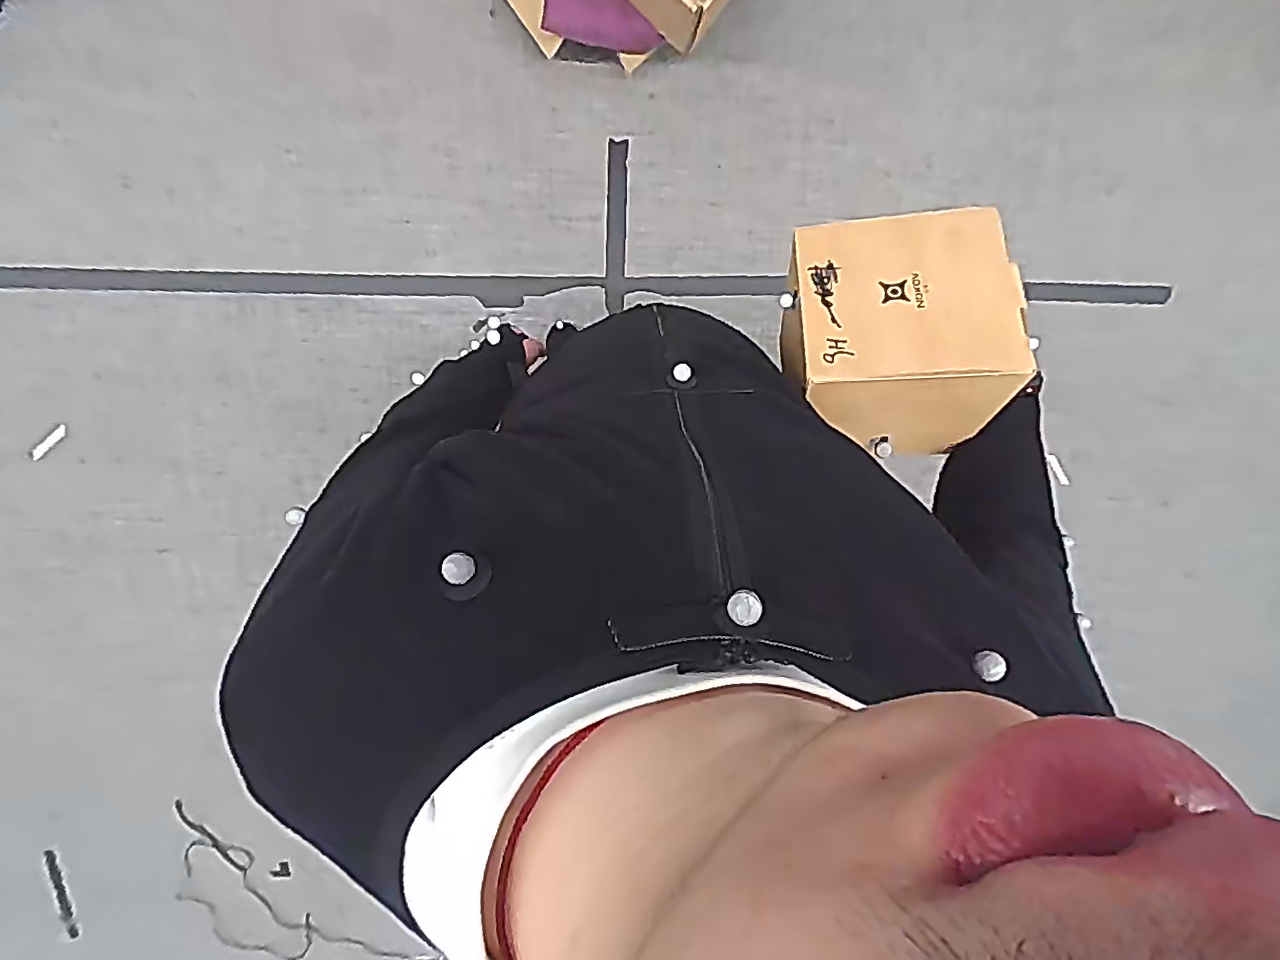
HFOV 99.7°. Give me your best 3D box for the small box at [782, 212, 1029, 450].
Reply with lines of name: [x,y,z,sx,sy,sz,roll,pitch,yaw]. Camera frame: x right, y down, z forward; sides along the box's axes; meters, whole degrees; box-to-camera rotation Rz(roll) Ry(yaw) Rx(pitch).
small box: [0.245,-0.137,0.549,0.179,0.176,0.168,-1,69,9]
